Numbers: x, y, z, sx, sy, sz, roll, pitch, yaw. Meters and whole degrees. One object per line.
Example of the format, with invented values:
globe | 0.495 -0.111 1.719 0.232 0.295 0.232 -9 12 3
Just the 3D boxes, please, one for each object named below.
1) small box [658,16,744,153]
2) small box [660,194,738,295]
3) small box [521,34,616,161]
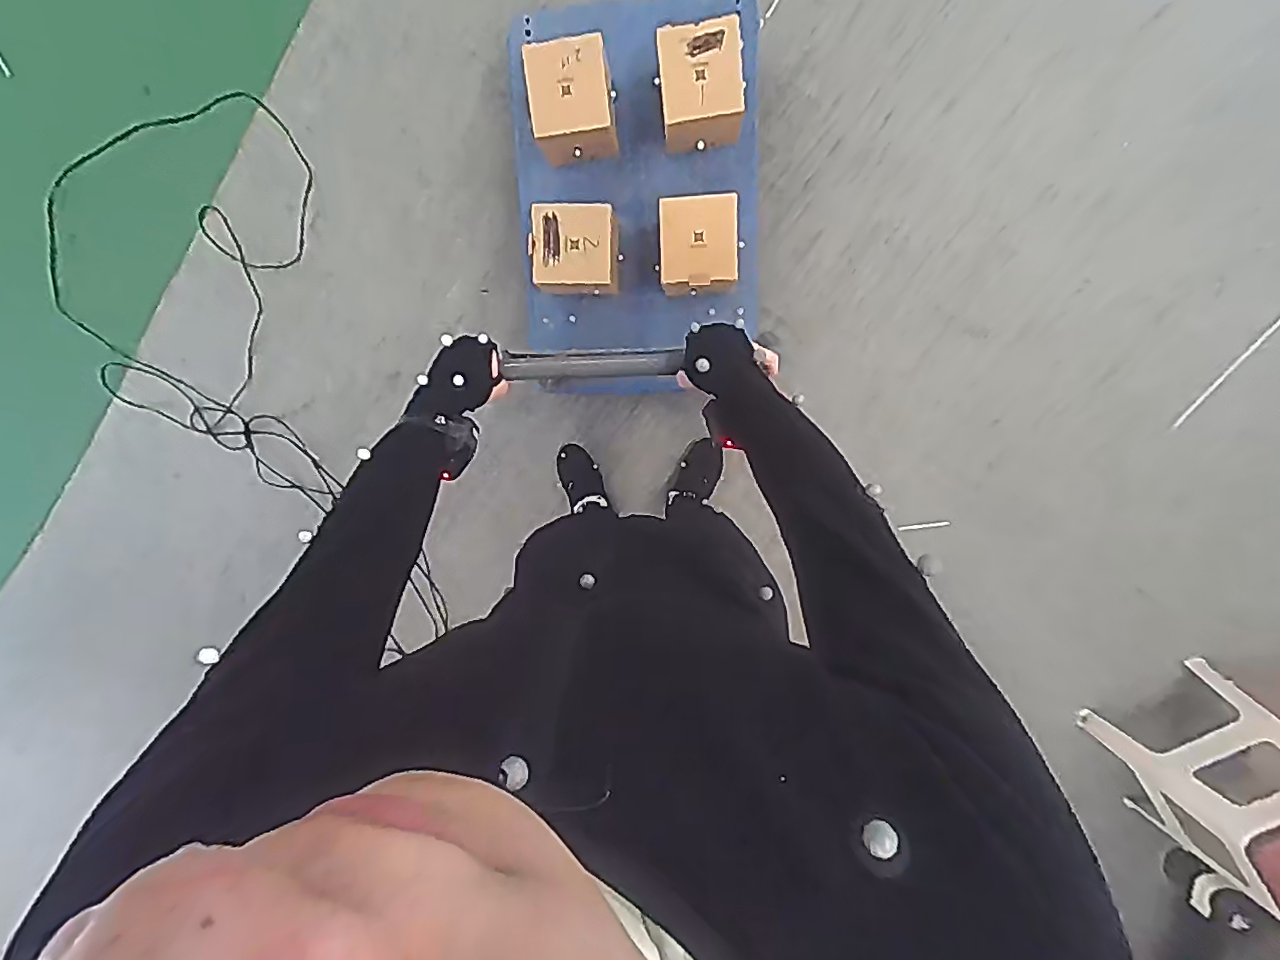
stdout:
small box | 0.128 -0.838 1.162 0.168 0.176 0.179 -5 102 6
small box | 0.131 -0.526 1.229 0.168 0.176 0.179 -2 102 5
small box | -0.147 -0.823 1.185 0.168 0.176 0.179 -5 102 4
